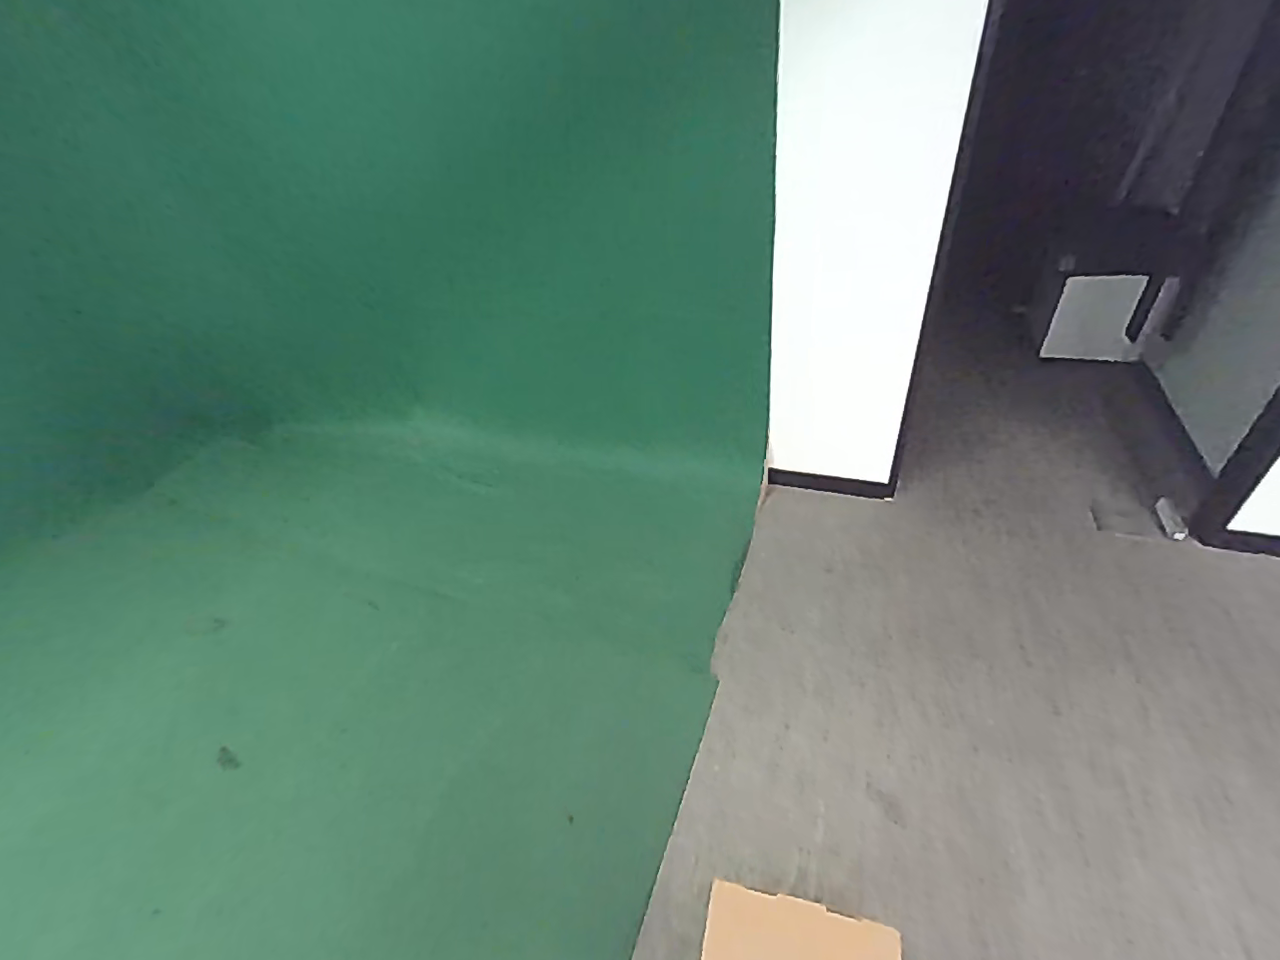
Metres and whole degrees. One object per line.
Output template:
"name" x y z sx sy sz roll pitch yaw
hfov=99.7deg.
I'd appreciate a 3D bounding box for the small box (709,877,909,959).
"small box" 0.145 0.502 0.487 0.168 0.176 0.179 2 44 20
